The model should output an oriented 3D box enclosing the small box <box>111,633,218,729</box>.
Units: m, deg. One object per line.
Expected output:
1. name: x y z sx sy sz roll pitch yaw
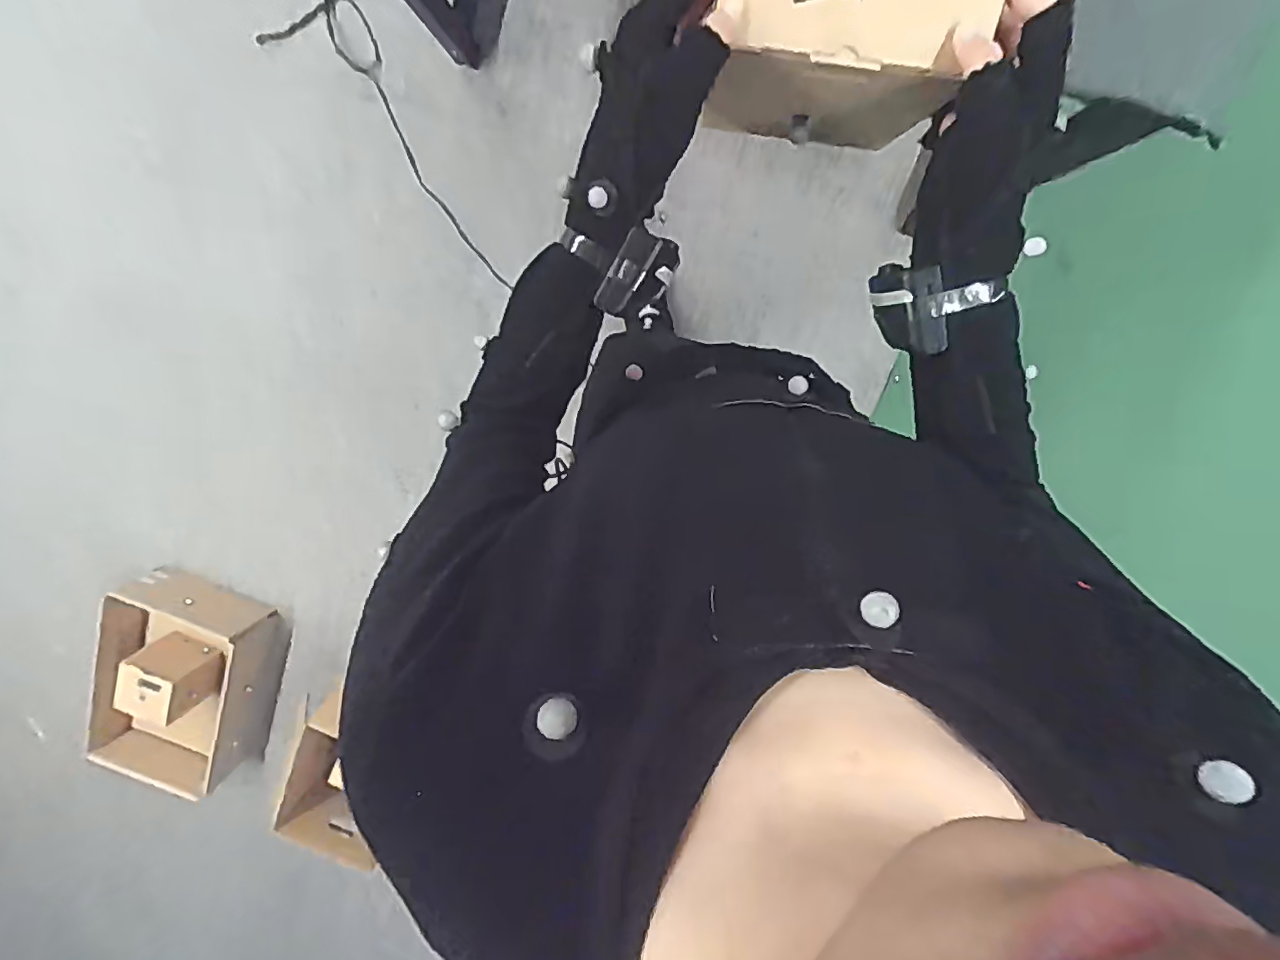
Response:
1. small box: -1.414 0.594 1.619 0.168 0.176 0.179 24 107 0
